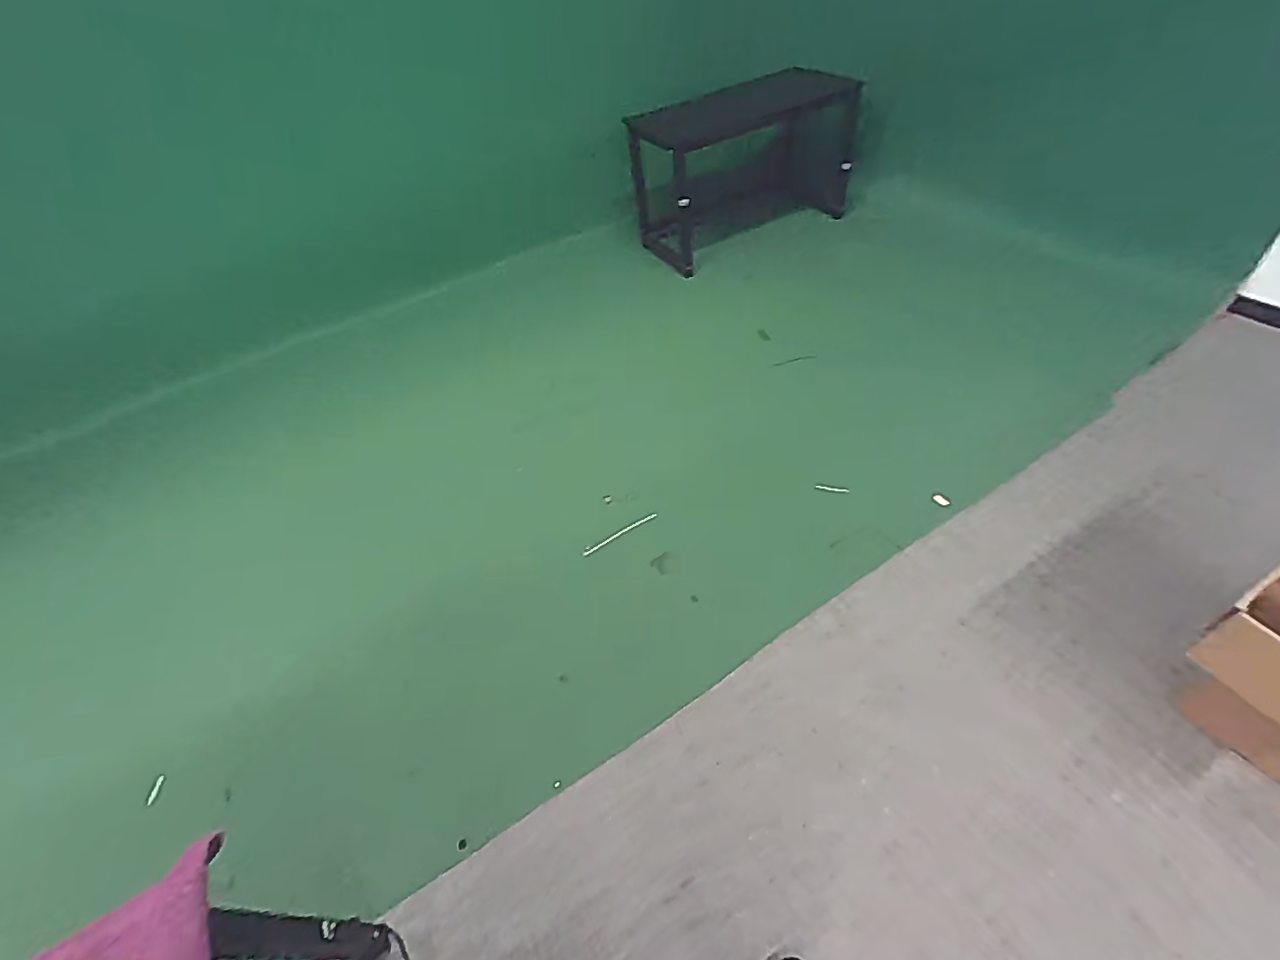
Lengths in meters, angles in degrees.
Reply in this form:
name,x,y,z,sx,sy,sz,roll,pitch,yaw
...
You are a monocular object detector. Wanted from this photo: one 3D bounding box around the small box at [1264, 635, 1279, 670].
name,x,y,z,sx,sy,sz,roll,pitch,yaw
small box,1.354,0.323,1.010,0.179,0.176,0.168,-25,50,-14
